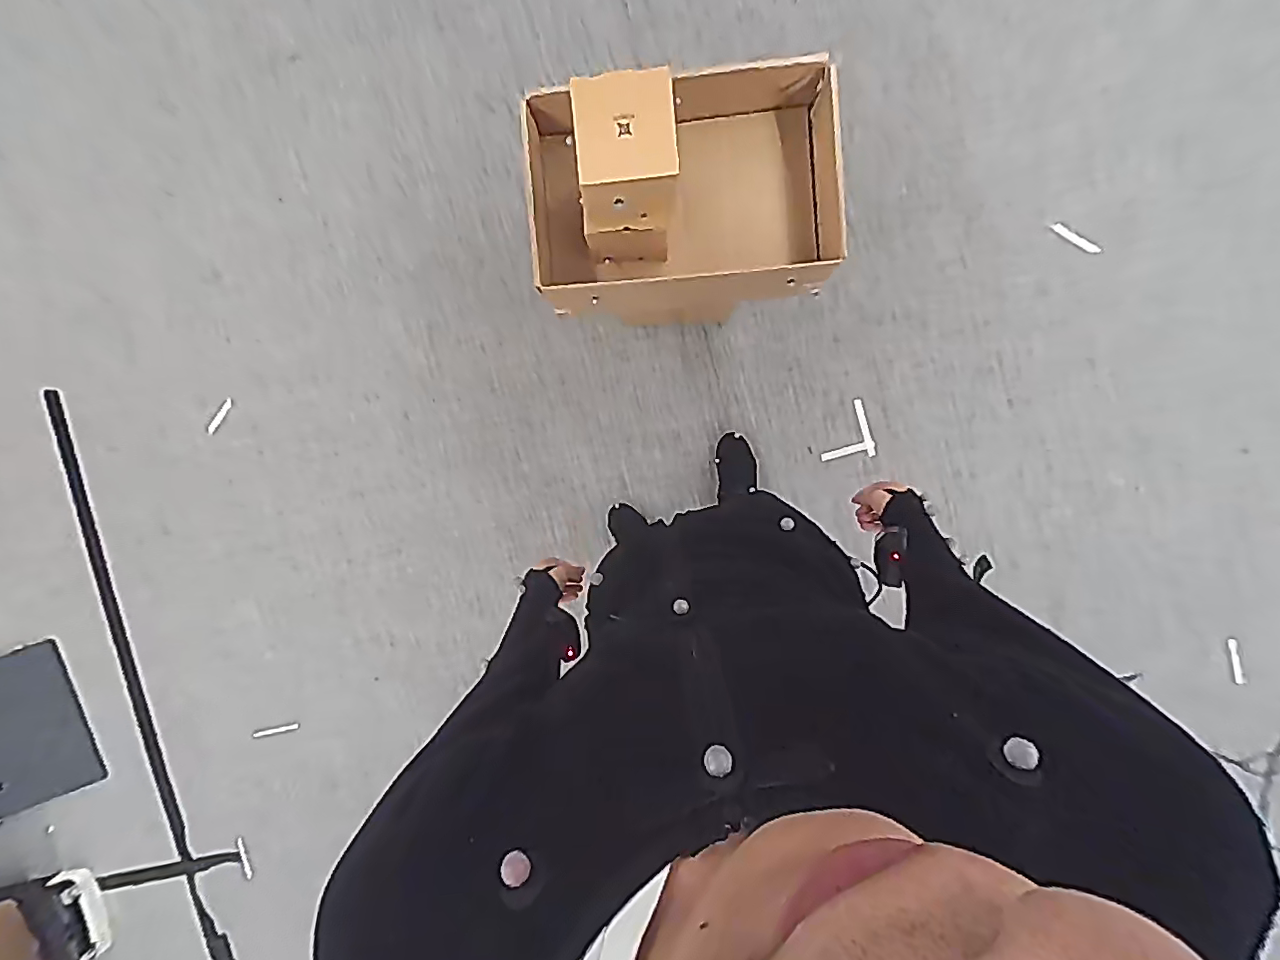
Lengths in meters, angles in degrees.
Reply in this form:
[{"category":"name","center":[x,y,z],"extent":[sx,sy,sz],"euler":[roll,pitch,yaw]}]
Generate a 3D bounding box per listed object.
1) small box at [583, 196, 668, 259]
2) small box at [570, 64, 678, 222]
[{"category":"small box","center":[-0.025,-0.568,1.111],"extent":[0.168,0.176,0.179],"euler":[-2,91,2]},{"category":"small box","center":[-0.022,-0.573,0.947],"extent":[0.168,0.176,0.179],"euler":[-5,91,2]}]
